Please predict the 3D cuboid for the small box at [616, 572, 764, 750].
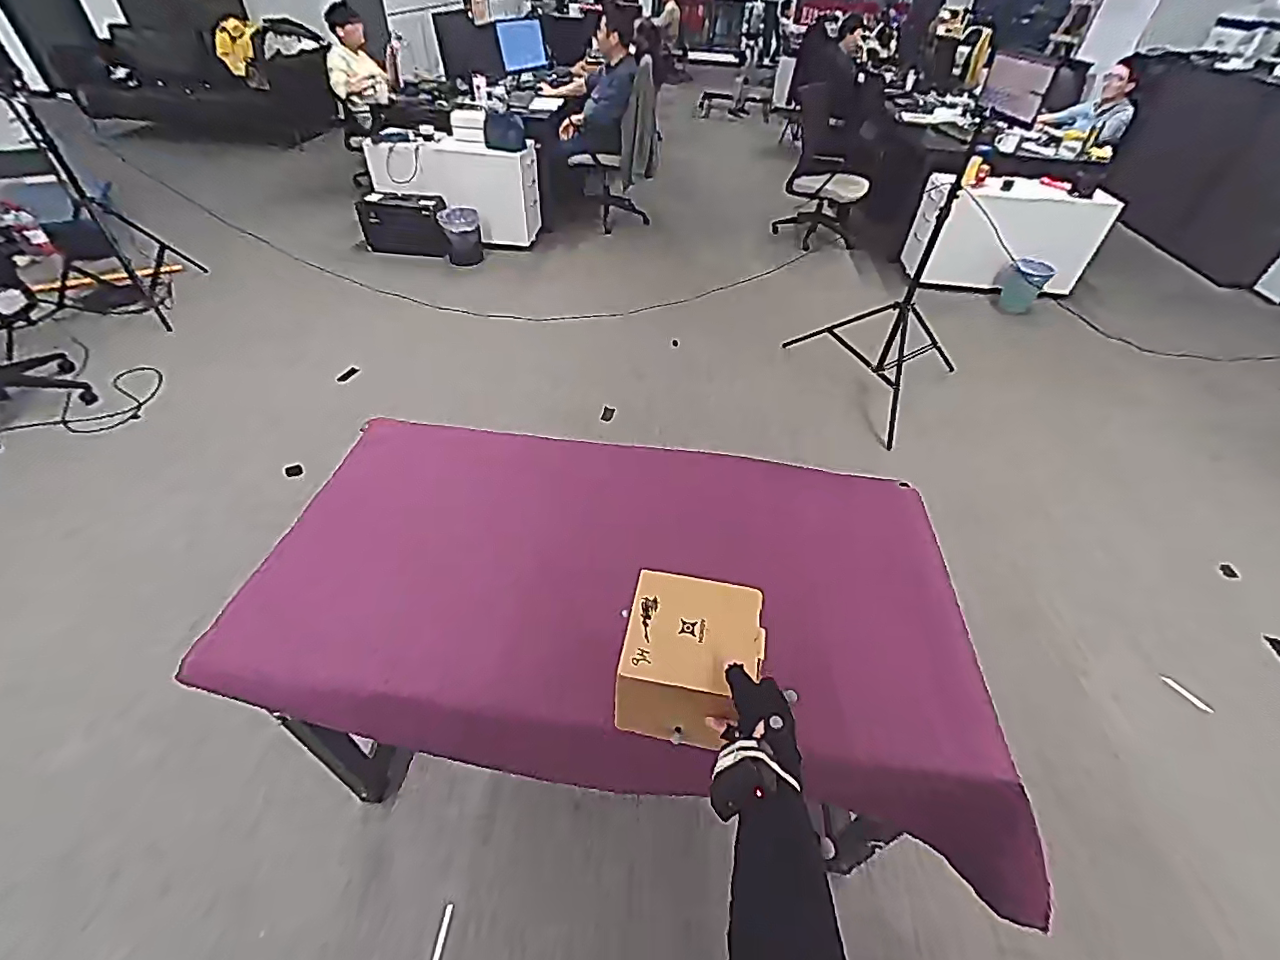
[{"bbox_3d":[0.069,0.259,0.767,0.179,0.176,0.168,10,43,6],"label":"small box"}]
